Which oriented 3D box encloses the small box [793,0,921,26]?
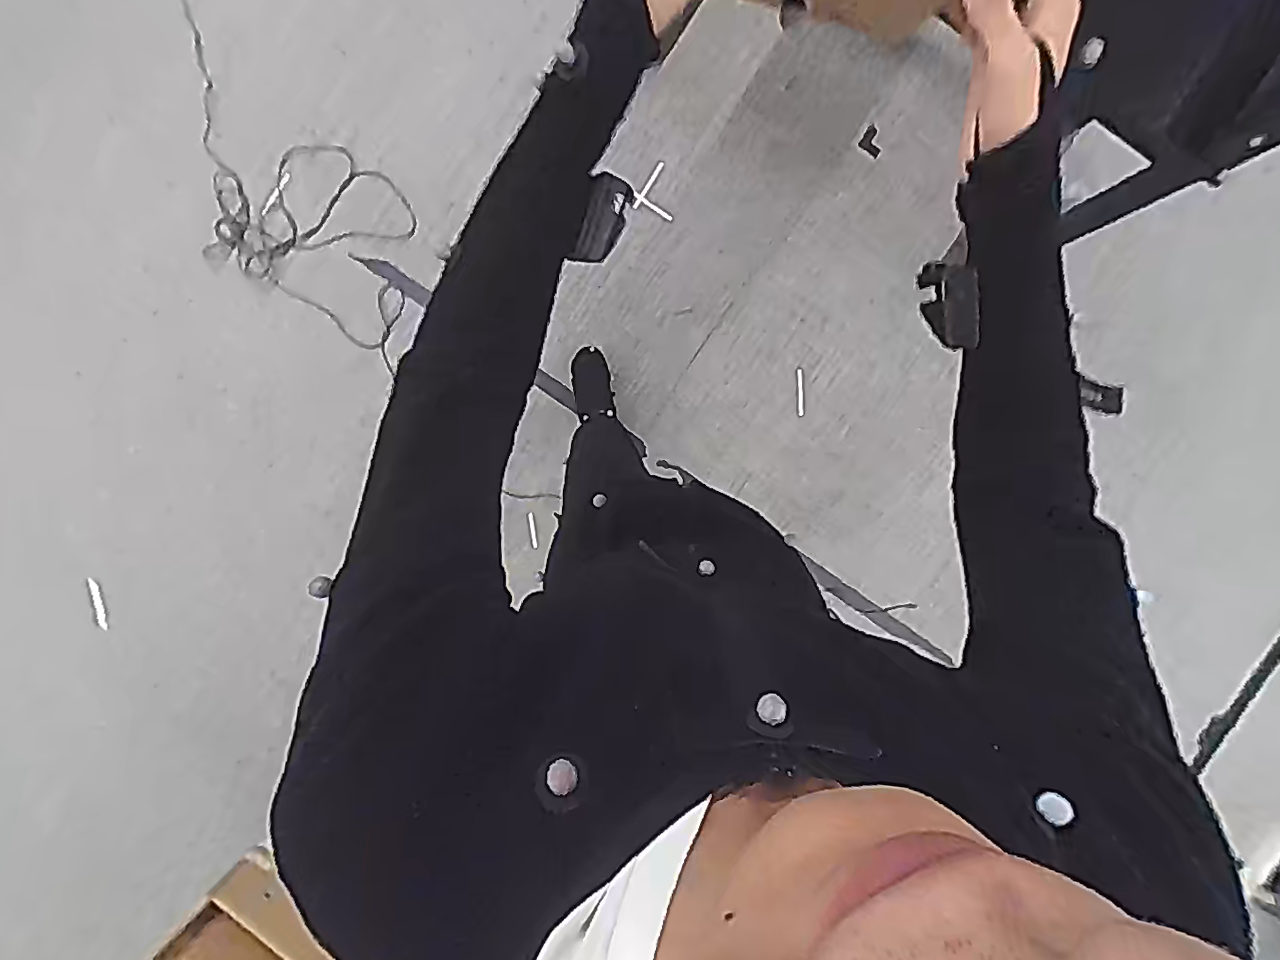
[{"bbox_3d":[0.144,-0.428,0.331,0.168,0.176,0.179,15,118,-2],"label":"small box"}]
